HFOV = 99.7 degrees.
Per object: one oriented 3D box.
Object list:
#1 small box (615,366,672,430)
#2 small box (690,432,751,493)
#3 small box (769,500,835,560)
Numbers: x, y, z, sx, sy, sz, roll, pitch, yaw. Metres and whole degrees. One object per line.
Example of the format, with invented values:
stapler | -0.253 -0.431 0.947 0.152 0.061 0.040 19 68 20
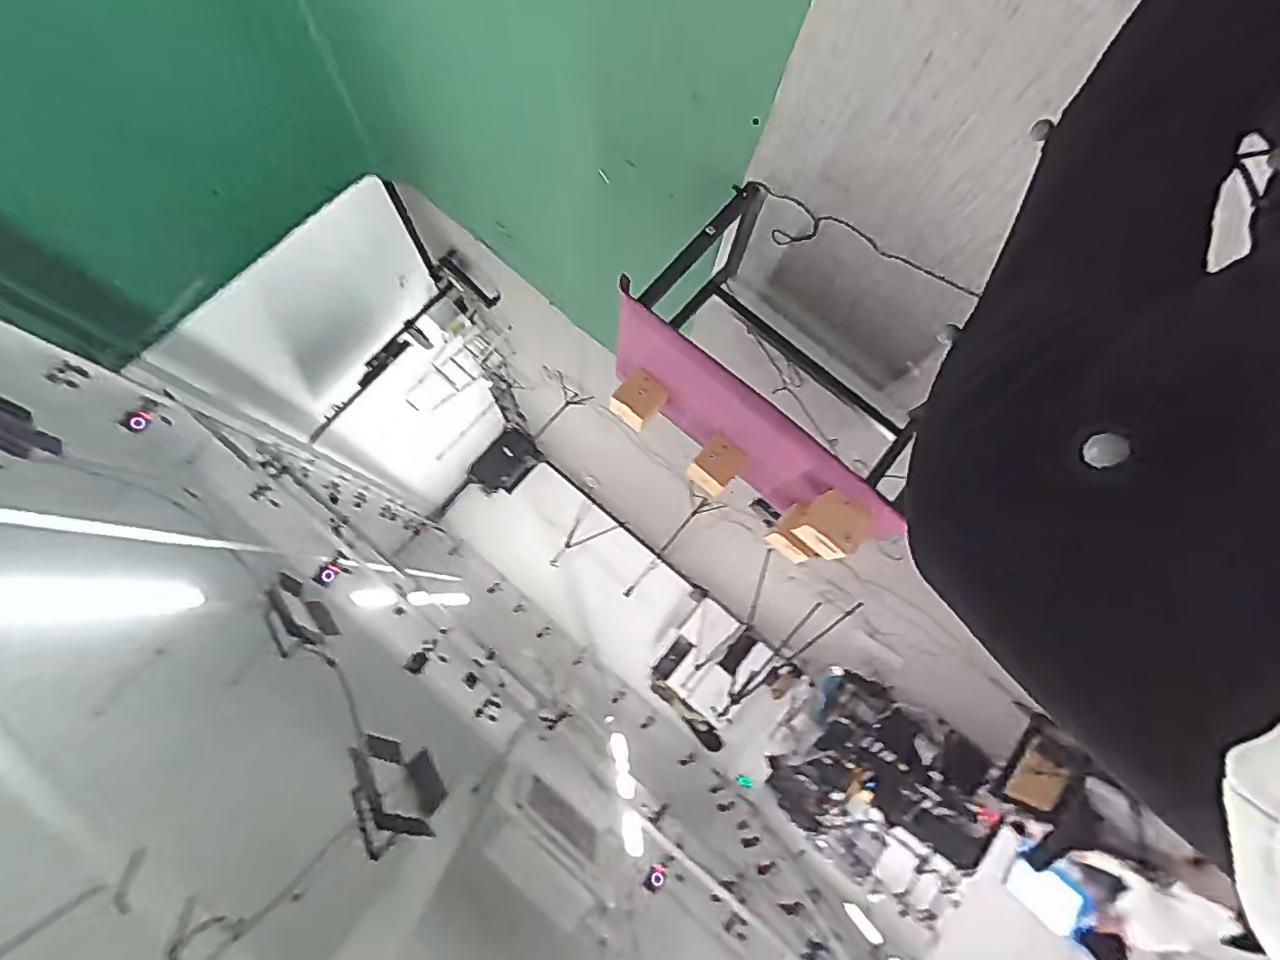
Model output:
small box | 0.015 -0.343 2.241 0.168 0.176 0.179 40 167 4
small box | 0.332 -0.074 2.217 0.168 0.176 0.179 41 168 6
small box | 0.653 0.199 2.170 0.168 0.176 0.179 40 168 7
